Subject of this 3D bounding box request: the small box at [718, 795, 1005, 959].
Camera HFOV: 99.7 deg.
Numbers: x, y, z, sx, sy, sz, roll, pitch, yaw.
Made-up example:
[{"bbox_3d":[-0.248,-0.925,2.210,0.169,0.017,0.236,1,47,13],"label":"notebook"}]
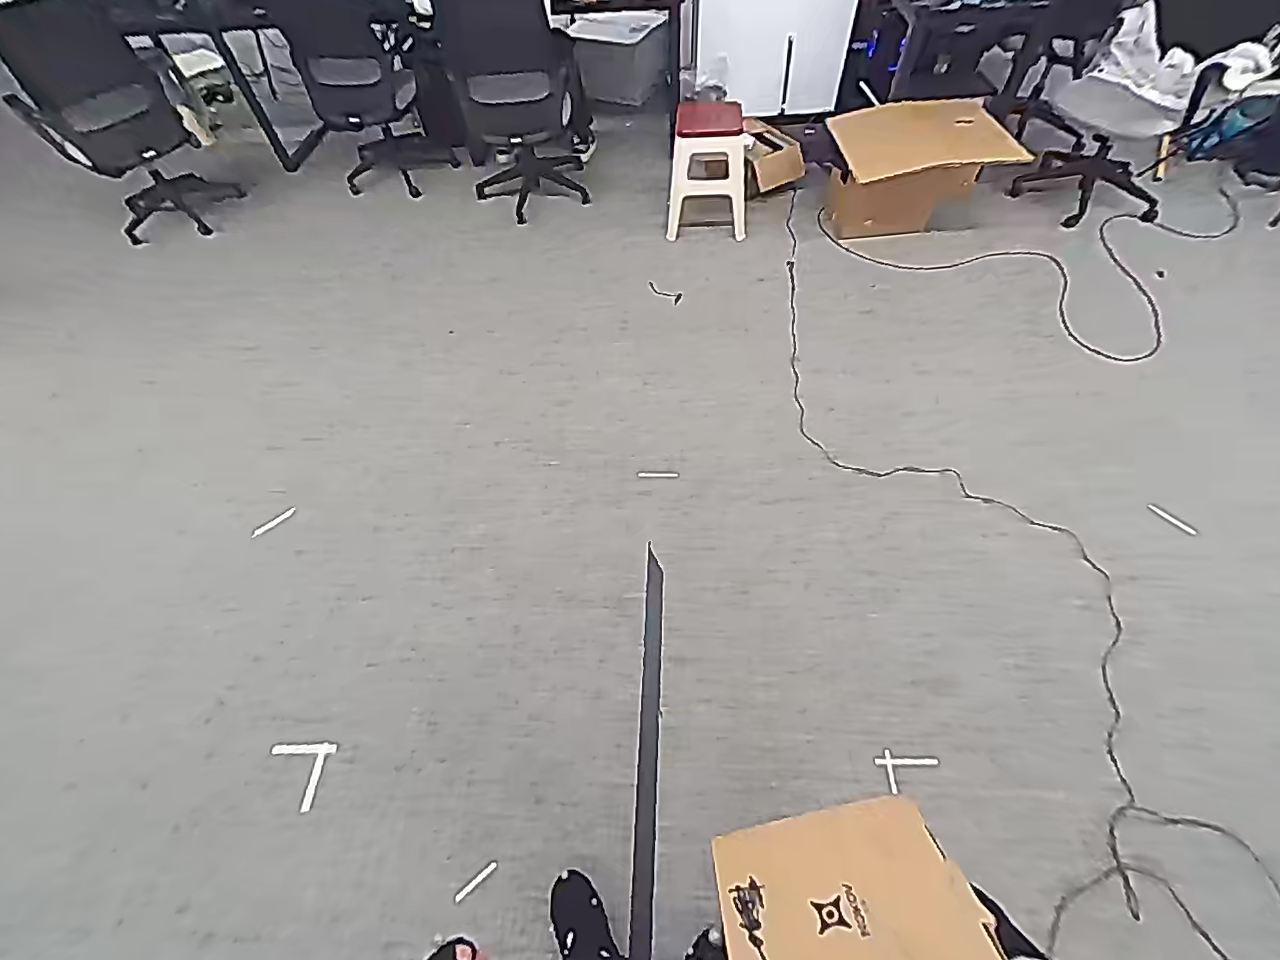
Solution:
[{"bbox_3d":[0.172,0.391,0.418,0.179,0.176,0.168,-15,14,4],"label":"small box"}]
